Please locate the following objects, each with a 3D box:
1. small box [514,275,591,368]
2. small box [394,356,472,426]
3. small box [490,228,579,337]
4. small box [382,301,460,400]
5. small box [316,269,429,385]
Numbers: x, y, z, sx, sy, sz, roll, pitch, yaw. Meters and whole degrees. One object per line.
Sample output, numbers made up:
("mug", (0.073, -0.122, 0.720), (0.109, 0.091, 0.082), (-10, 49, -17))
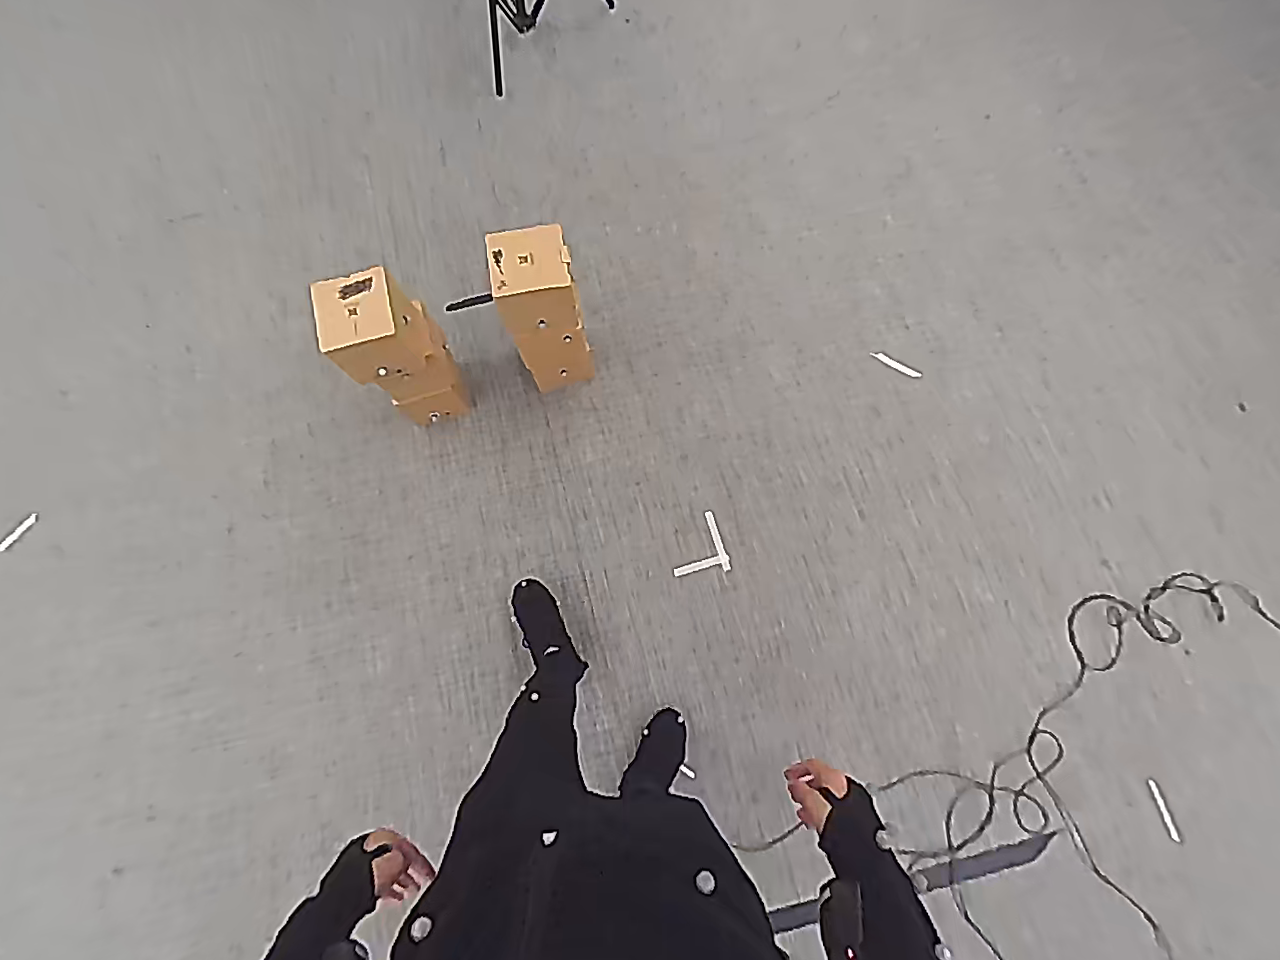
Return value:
("small box", (-0.233, -0.410, 1.426), (0.179, 0.176, 0.168), (-9, 75, -2))
("small box", (-0.606, -0.280, 1.563), (0.168, 0.176, 0.179), (-18, 76, -4))
("small box", (-0.240, -0.457, 1.269), (0.179, 0.176, 0.168), (-9, 75, -3))
("small box", (-0.596, -0.328, 1.406), (0.179, 0.176, 0.168), (-19, 76, -4))
("small box", (-0.607, -0.344, 1.241), (0.168, 0.176, 0.179), (-15, 76, -2))
